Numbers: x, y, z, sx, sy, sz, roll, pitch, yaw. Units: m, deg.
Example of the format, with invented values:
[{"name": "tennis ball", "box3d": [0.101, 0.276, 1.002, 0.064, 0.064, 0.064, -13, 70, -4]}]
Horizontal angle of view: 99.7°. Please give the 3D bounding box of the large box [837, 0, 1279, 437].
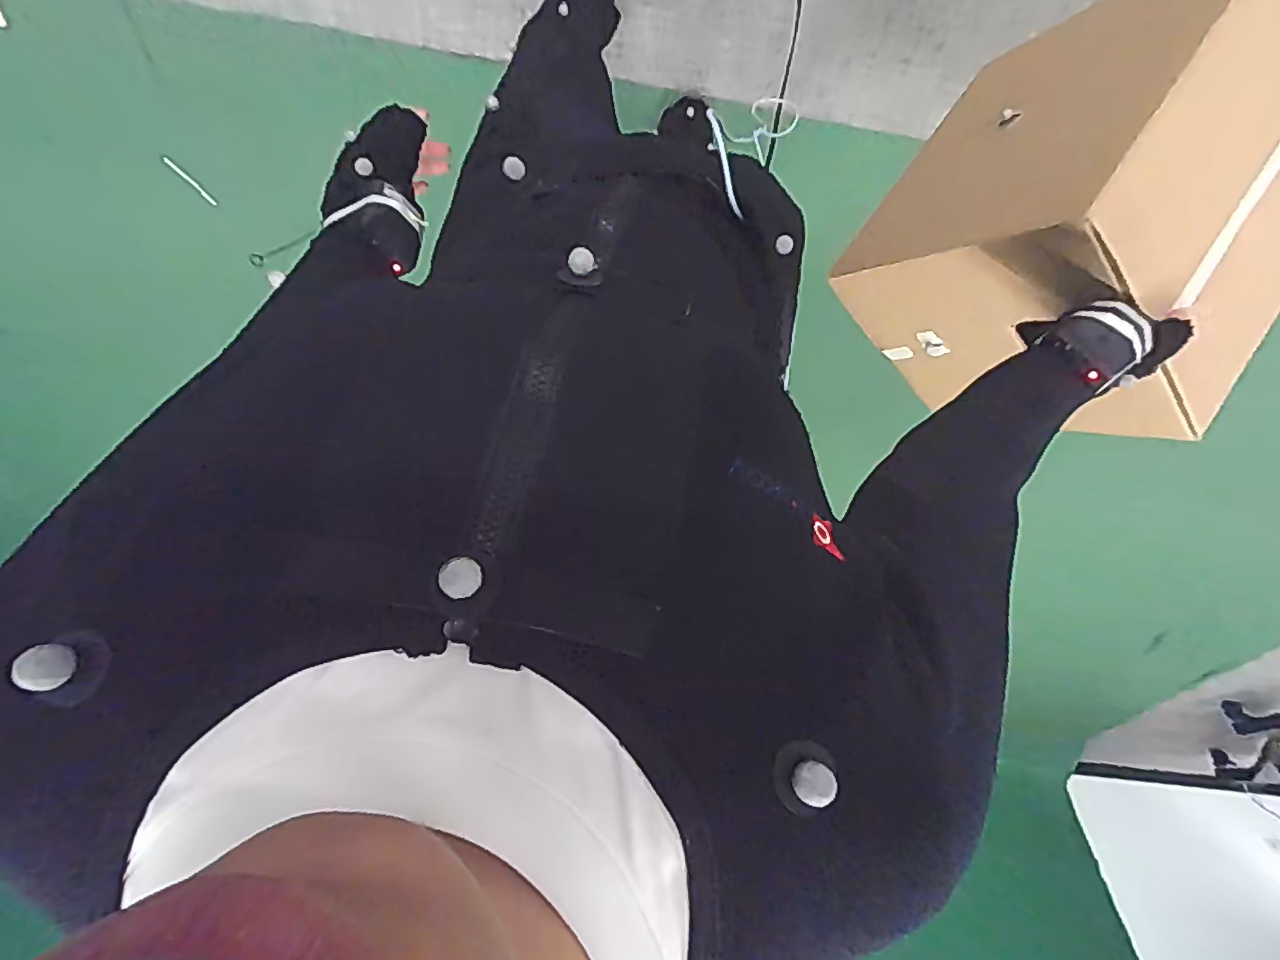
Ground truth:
[{"name": "large box", "box3d": [0.536, -0.309, 0.676, 0.320, 0.320, 0.408, 39, 83, -24]}]
